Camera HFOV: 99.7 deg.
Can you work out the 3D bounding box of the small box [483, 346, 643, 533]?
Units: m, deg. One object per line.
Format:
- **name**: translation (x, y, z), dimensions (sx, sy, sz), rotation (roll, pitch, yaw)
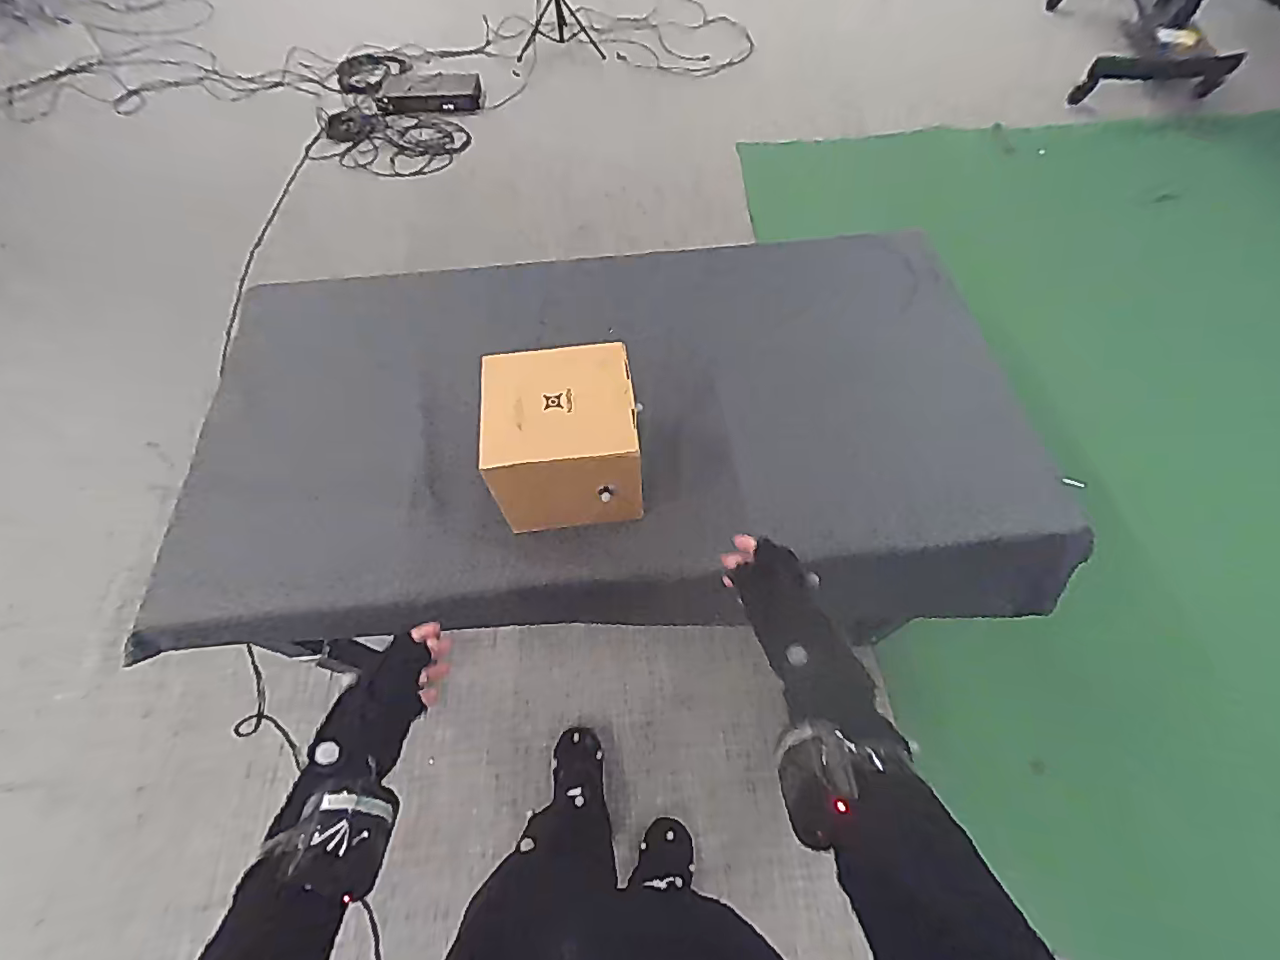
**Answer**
- **small box**: translation (-0.090, -0.046, 0.694), dimensions (0.179, 0.176, 0.168), rotation (-8, 59, -2)
